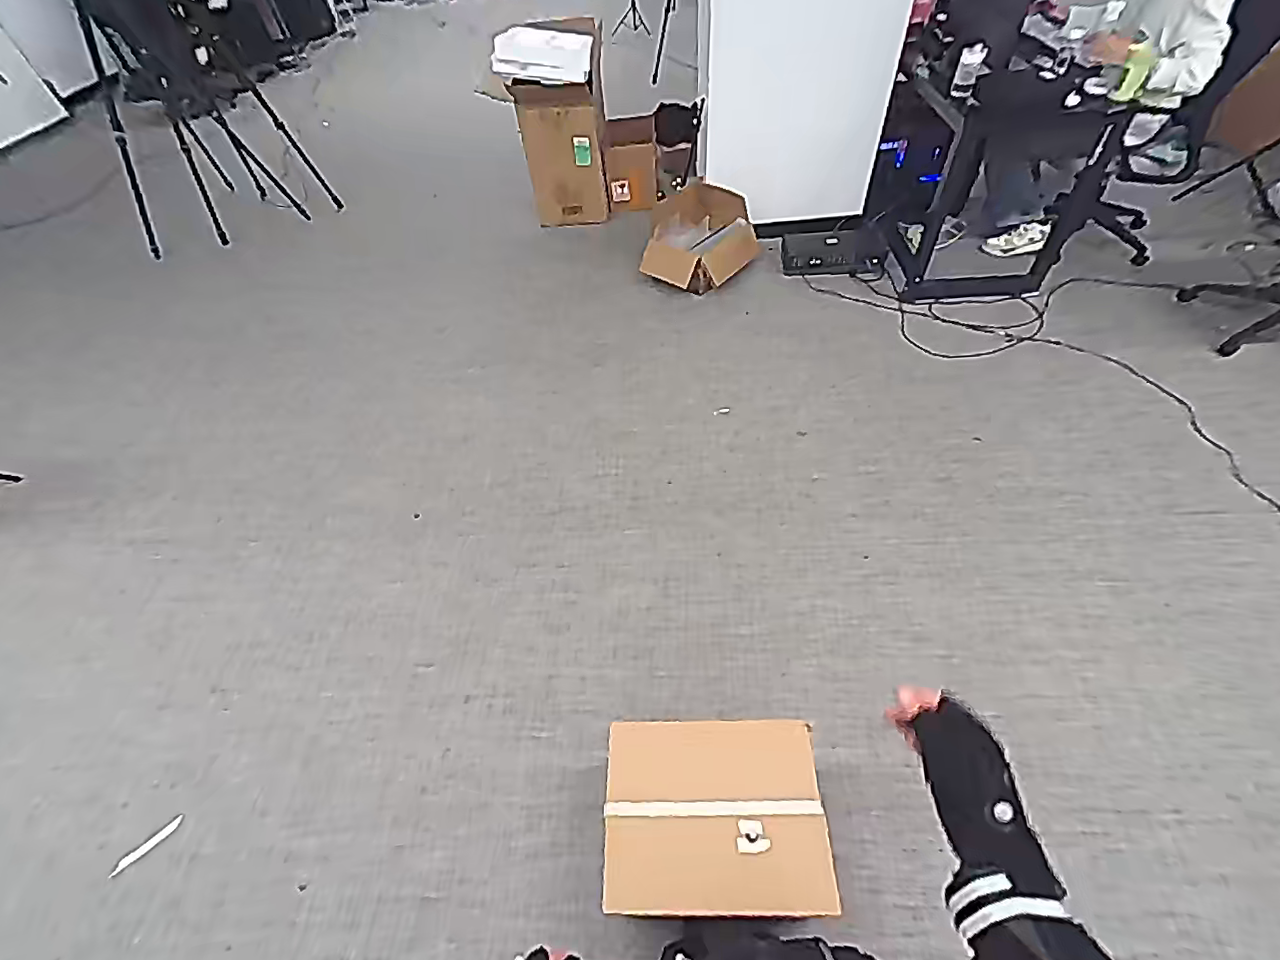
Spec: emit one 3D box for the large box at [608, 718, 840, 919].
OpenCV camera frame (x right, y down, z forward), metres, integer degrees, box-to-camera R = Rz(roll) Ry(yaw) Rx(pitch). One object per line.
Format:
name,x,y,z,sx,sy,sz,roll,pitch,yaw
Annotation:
large box,0.148,0.709,1.126,0.408,0.320,0.320,-2,51,3
